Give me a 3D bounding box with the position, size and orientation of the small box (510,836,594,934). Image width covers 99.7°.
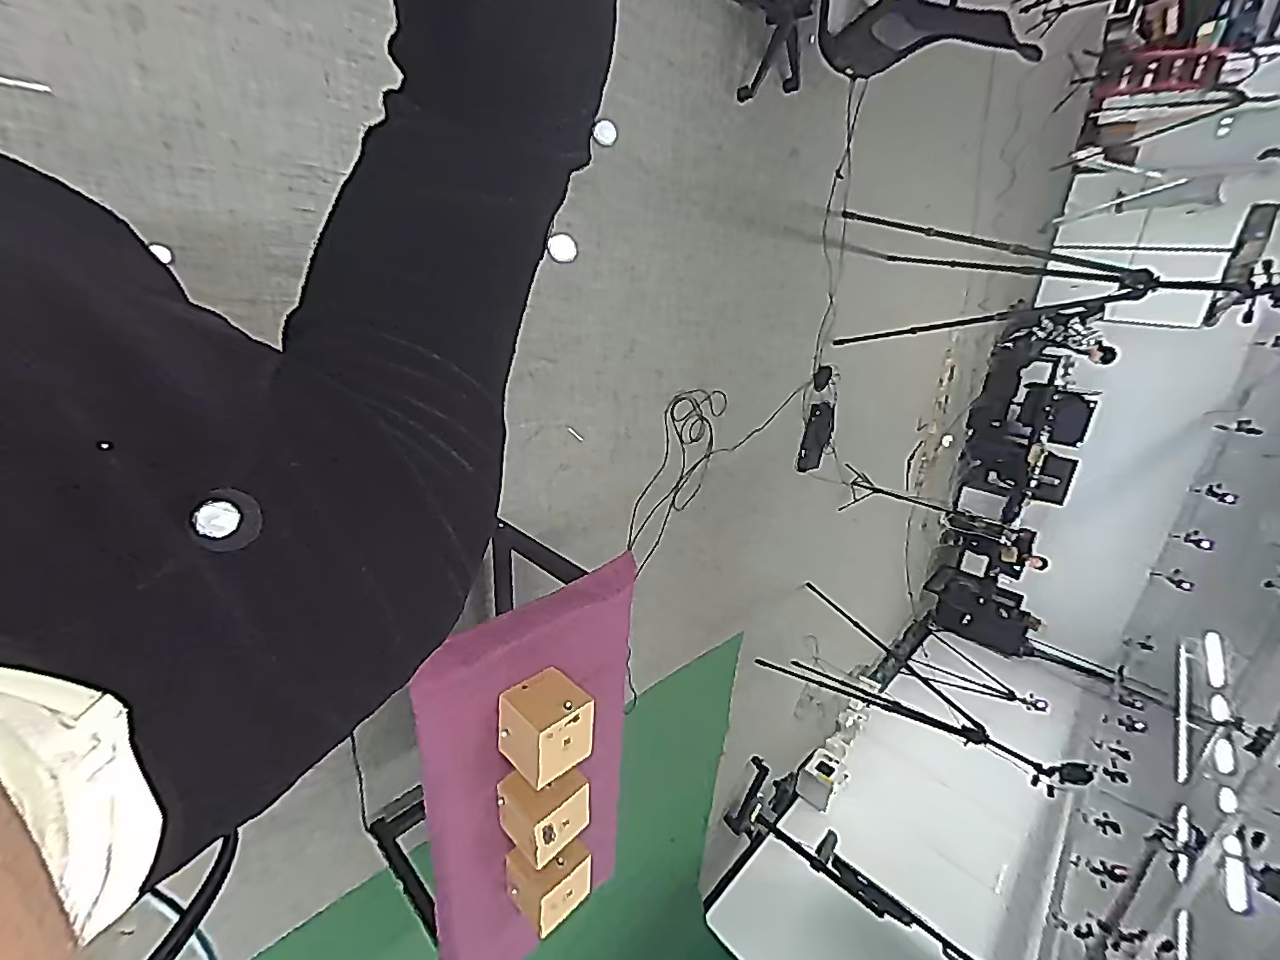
[{"bbox_3d":[-0.252,1.121,1.550,0.179,0.176,0.168,-18,118,-44],"label":"small box"}]

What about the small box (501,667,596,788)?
[{"bbox_3d":[-0.231,0.606,1.345,0.168,0.176,0.179,-16,118,-45],"label":"small box"}]

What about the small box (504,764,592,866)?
[{"bbox_3d":[-0.248,0.856,1.437,0.179,0.176,0.168,-22,122,-43],"label":"small box"}]
